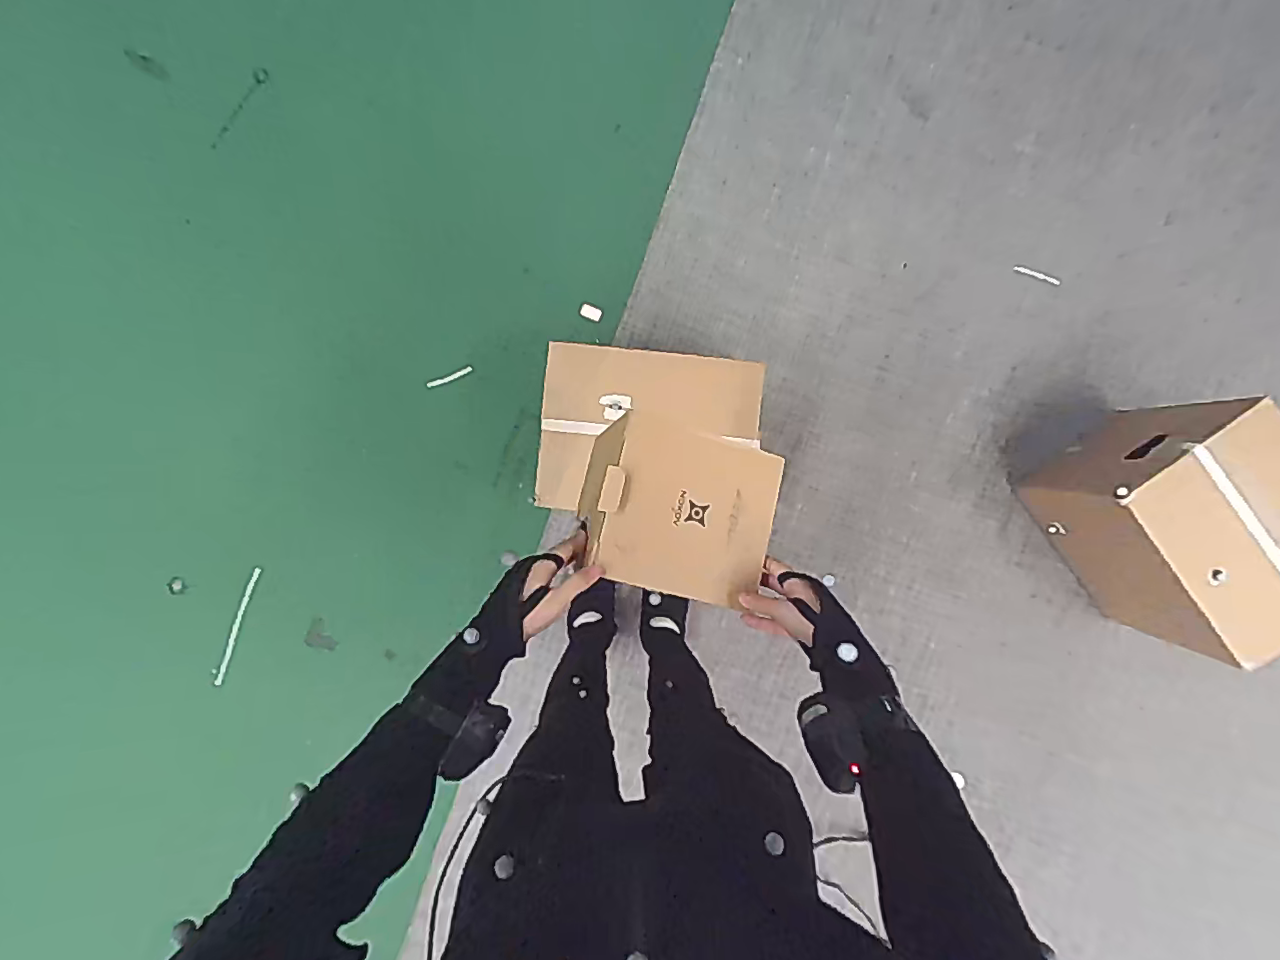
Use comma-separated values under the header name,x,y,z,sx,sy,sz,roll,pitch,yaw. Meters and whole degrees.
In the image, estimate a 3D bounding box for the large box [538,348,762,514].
name,x,y,z,sx,sy,sz,roll,pitch,yaw
large box,0.026,-0.086,1.150,0.408,0.320,0.320,6,92,3

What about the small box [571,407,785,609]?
name,x,y,z,sx,sy,sz,roll,pitch,yaw
small box,0.031,0.037,0.608,0.179,0.176,0.168,16,81,-14
